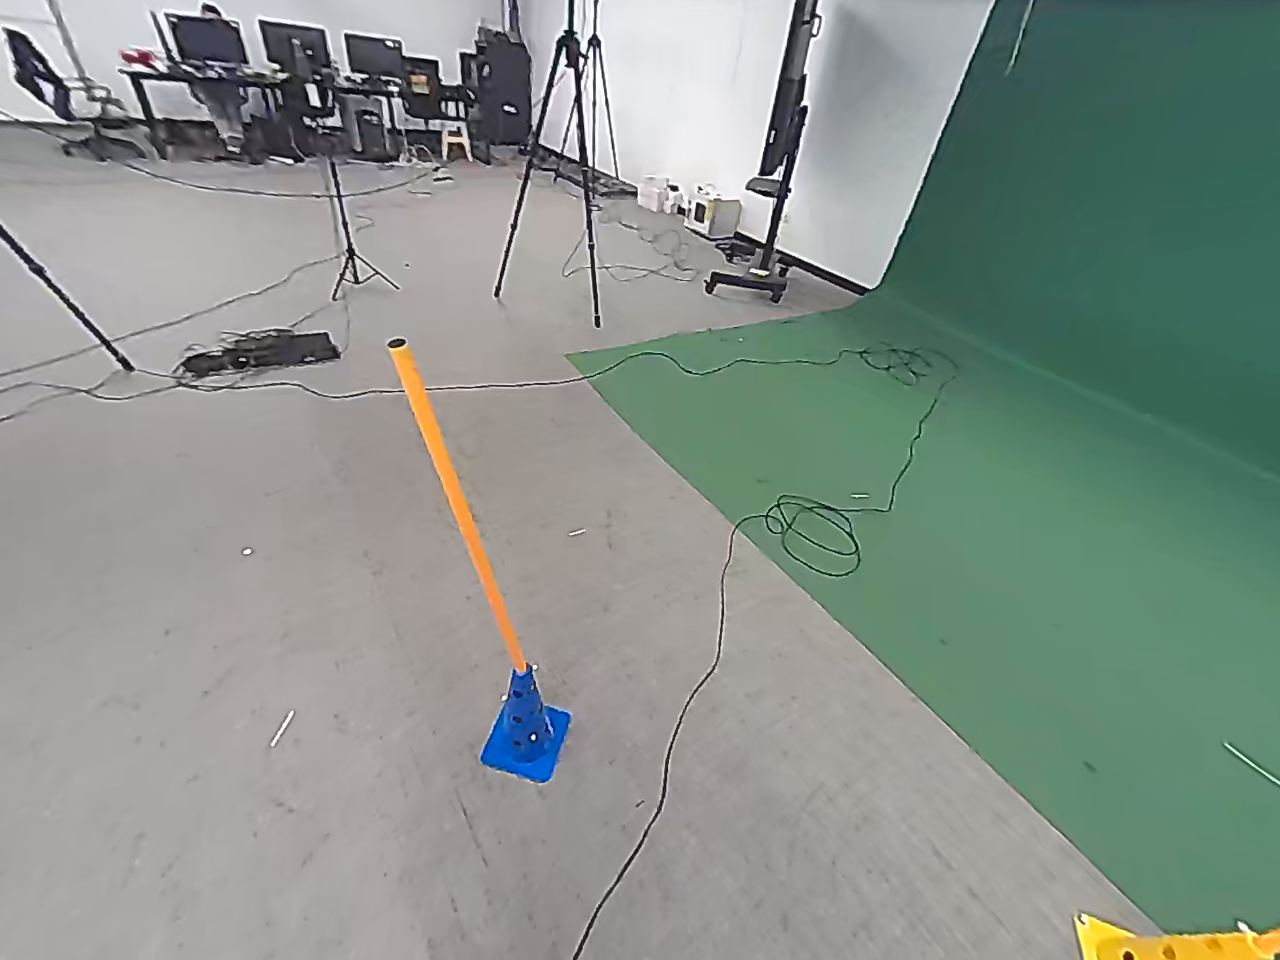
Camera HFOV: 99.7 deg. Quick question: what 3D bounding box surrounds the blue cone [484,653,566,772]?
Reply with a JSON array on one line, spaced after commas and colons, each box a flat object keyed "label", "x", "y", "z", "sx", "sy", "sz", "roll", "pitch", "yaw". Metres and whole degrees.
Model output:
[{"label": "blue cone", "x": -0.301, "y": 0.568, "z": 1.378, "sx": 0.193, "sy": 0.380, "sz": 0.192, "roll": 11, "pitch": 40, "yaw": 6}]
